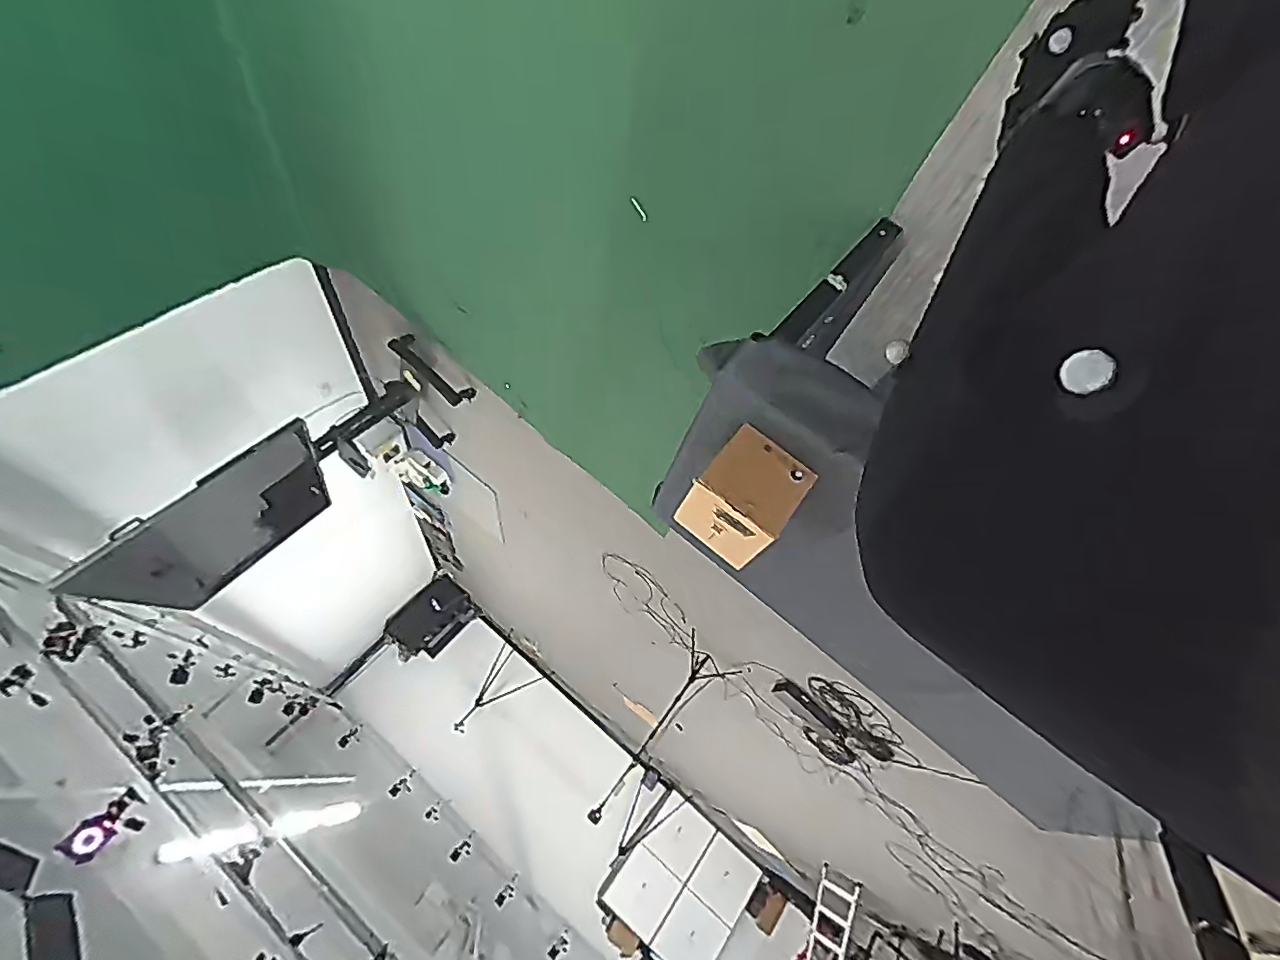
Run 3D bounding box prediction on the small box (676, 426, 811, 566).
[{"bbox_3d":[0.199,0.029,1.030,0.168,0.176,0.179,38,153,8],"label":"small box"}]
